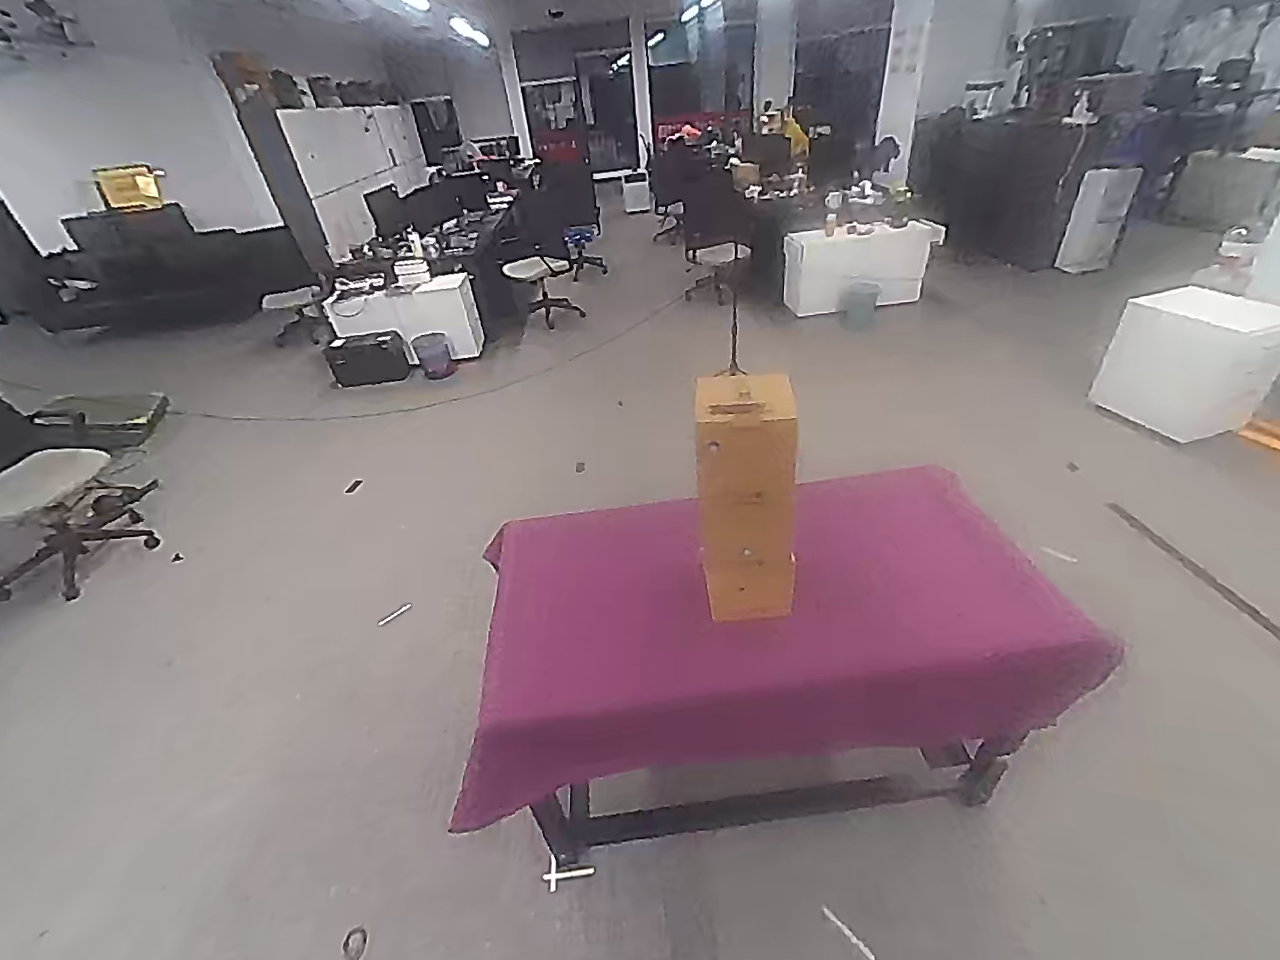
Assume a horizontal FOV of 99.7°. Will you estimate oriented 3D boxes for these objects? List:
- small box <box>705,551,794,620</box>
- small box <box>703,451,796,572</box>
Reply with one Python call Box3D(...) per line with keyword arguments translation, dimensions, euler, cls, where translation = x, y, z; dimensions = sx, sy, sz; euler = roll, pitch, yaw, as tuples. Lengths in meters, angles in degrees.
Box3D(translation=(0.231, 0.187, 1.171), dimensions=(0.168, 0.176, 0.179), euler=(-6, 35, 2), cls="small box")
Box3D(translation=(0.209, 0.060, 1.067), dimensions=(0.168, 0.176, 0.179), euler=(-2, 35, 8), cls="small box")
